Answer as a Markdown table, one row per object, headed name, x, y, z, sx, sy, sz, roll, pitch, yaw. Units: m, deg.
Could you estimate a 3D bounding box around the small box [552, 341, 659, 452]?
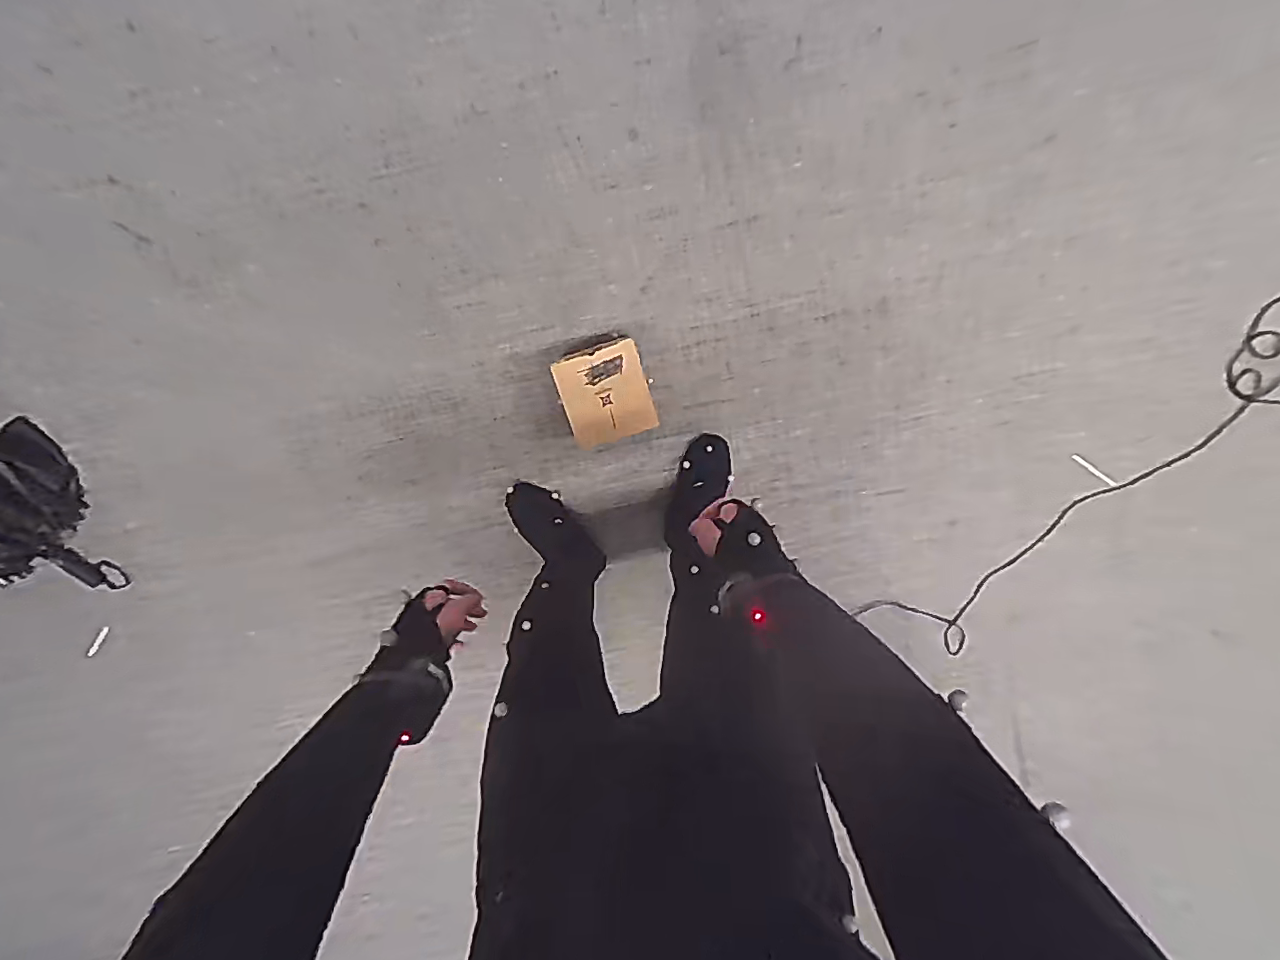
| name | x | y | z | sx | sy | sz | roll | pitch | yaw |
| --- | --- | --- | --- | --- | --- | --- | --- | --- | --- |
| small box | -0.069 | -0.177 | 1.104 | 0.168 | 0.176 | 0.179 | -17 | 107 | 3 |
